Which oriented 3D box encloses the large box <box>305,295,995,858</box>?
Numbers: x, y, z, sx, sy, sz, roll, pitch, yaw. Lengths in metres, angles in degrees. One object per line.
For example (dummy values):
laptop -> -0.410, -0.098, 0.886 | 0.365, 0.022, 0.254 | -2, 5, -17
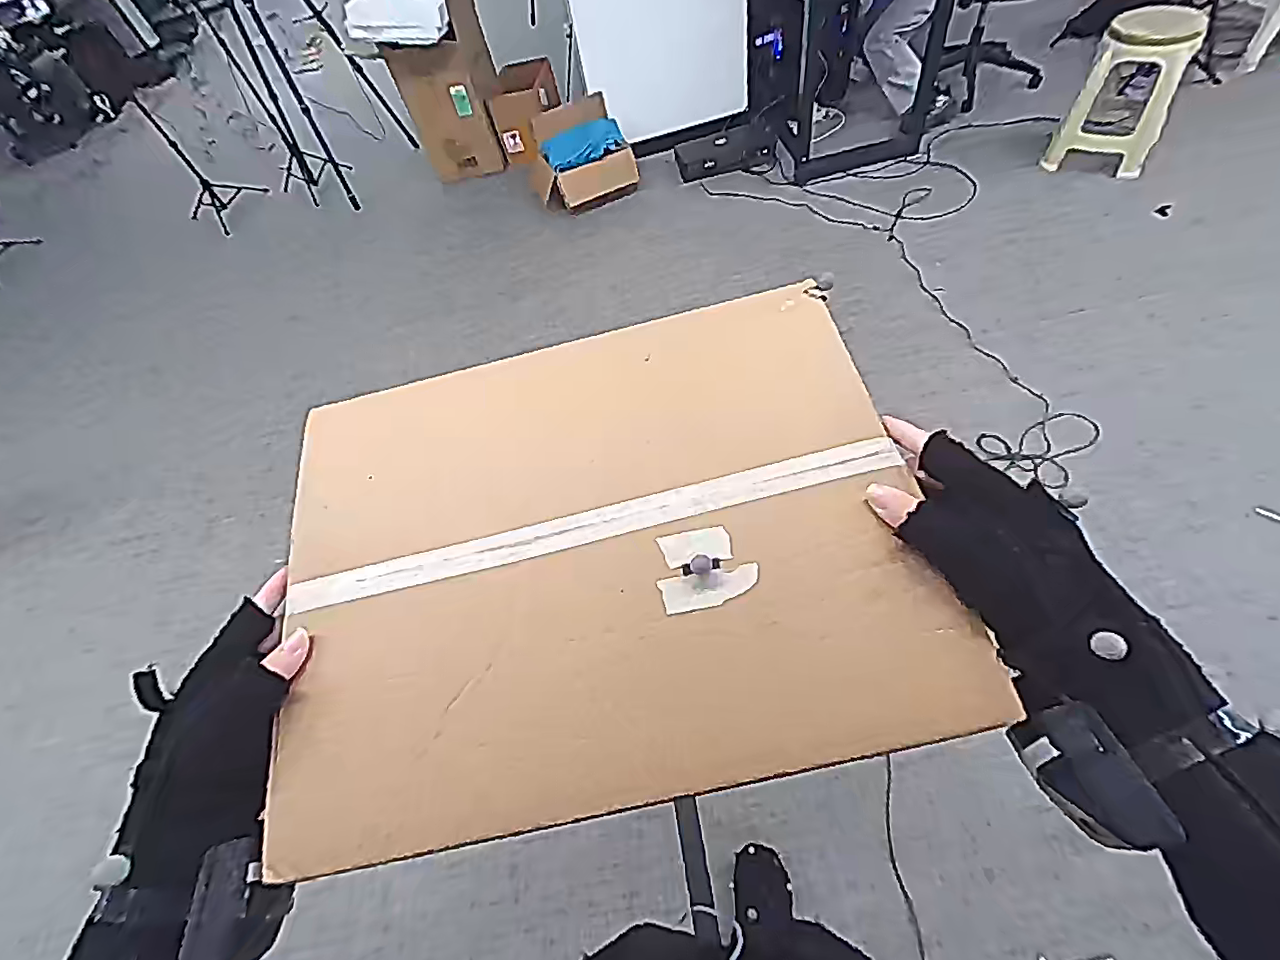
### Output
large box -> -0.008, 0.098, 0.497 | 0.408, 0.320, 0.320 | -14, 64, 2
